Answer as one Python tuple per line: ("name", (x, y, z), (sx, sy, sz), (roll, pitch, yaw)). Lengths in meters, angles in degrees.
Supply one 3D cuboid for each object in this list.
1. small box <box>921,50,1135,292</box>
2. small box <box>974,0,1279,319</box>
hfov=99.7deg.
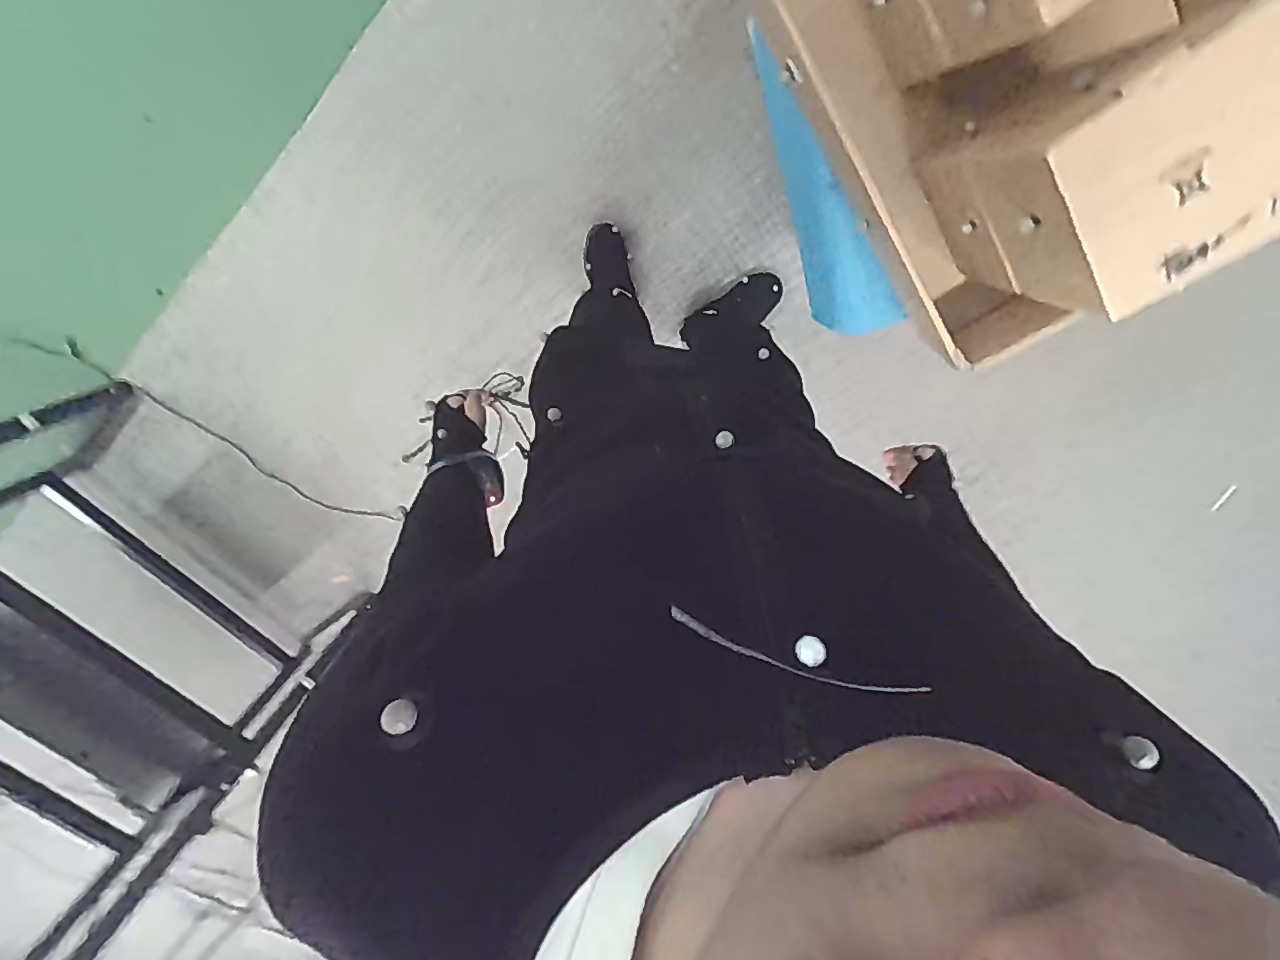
("small box", (0.473, -0.358, 0.654), (0.168, 0.176, 0.179), (-30, 111, 21))
("small box", (0.456, -0.282, 0.510), (0.168, 0.176, 0.179), (-31, 108, 22))
